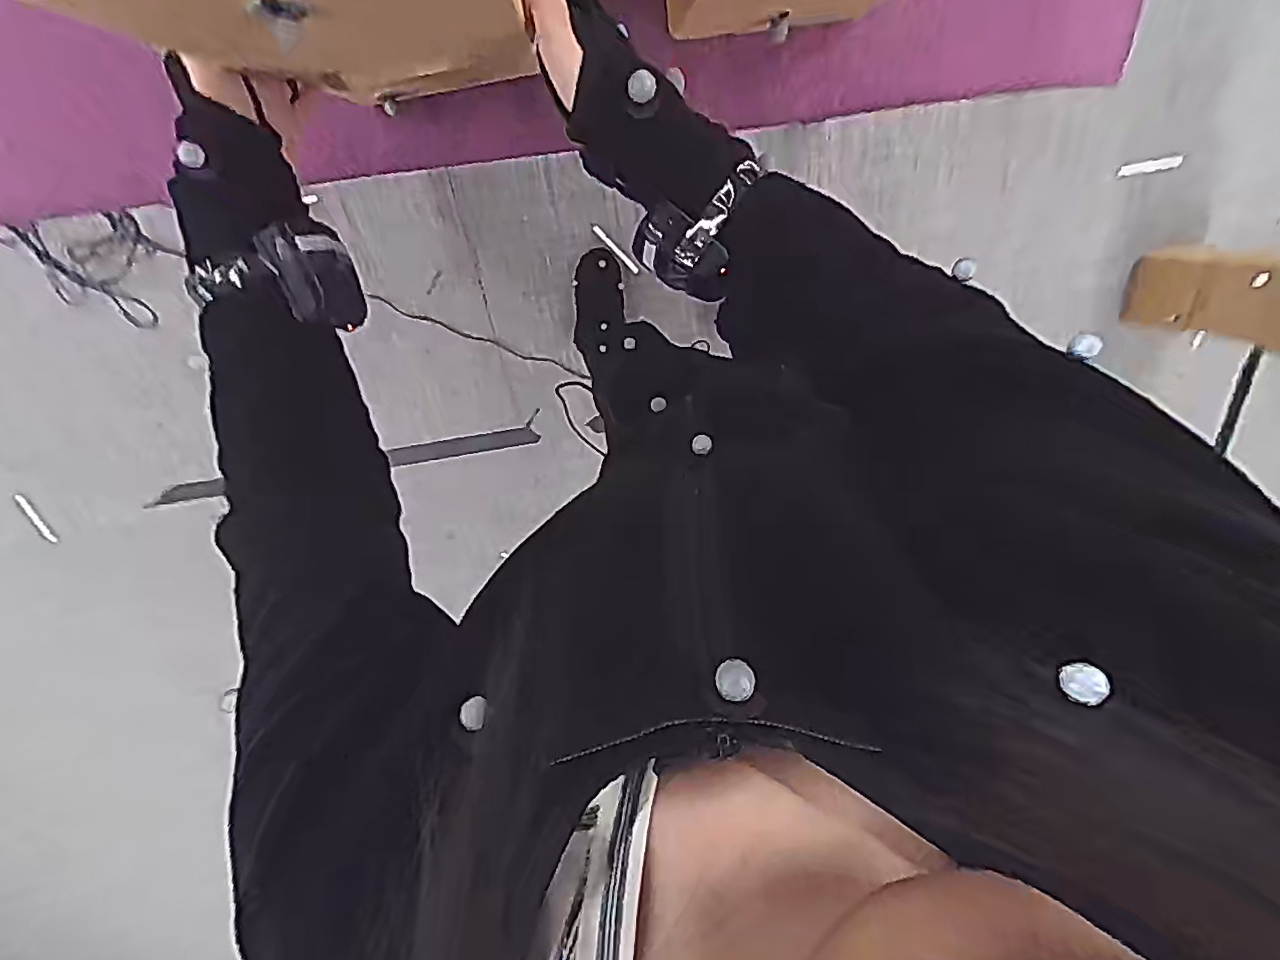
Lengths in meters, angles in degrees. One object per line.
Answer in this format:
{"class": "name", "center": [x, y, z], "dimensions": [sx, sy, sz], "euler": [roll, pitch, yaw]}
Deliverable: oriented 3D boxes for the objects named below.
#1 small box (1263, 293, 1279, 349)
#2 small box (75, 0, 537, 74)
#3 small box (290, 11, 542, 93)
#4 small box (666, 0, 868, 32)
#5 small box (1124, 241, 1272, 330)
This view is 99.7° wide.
{"class": "small box", "center": [1.383, -0.334, 1.038], "dimensions": [0.168, 0.176, 0.179], "euler": [-12, 118, -2]}
{"class": "small box", "center": [-0.151, -0.290, 0.224], "dimensions": [0.179, 0.176, 0.168], "euler": [-8, 119, 0]}
{"class": "small box", "center": [-0.170, -0.381, 0.361], "dimensions": [0.168, 0.176, 0.179], "euler": [-10, 118, 1]}
{"class": "small box", "center": [0.113, -0.442, 0.376], "dimensions": [0.179, 0.176, 0.168], "euler": [-9, 118, -2]}
{"class": "small box", "center": [1.353, -0.483, 1.328], "dimensions": [0.168, 0.176, 0.179], "euler": [-10, 119, -2]}
